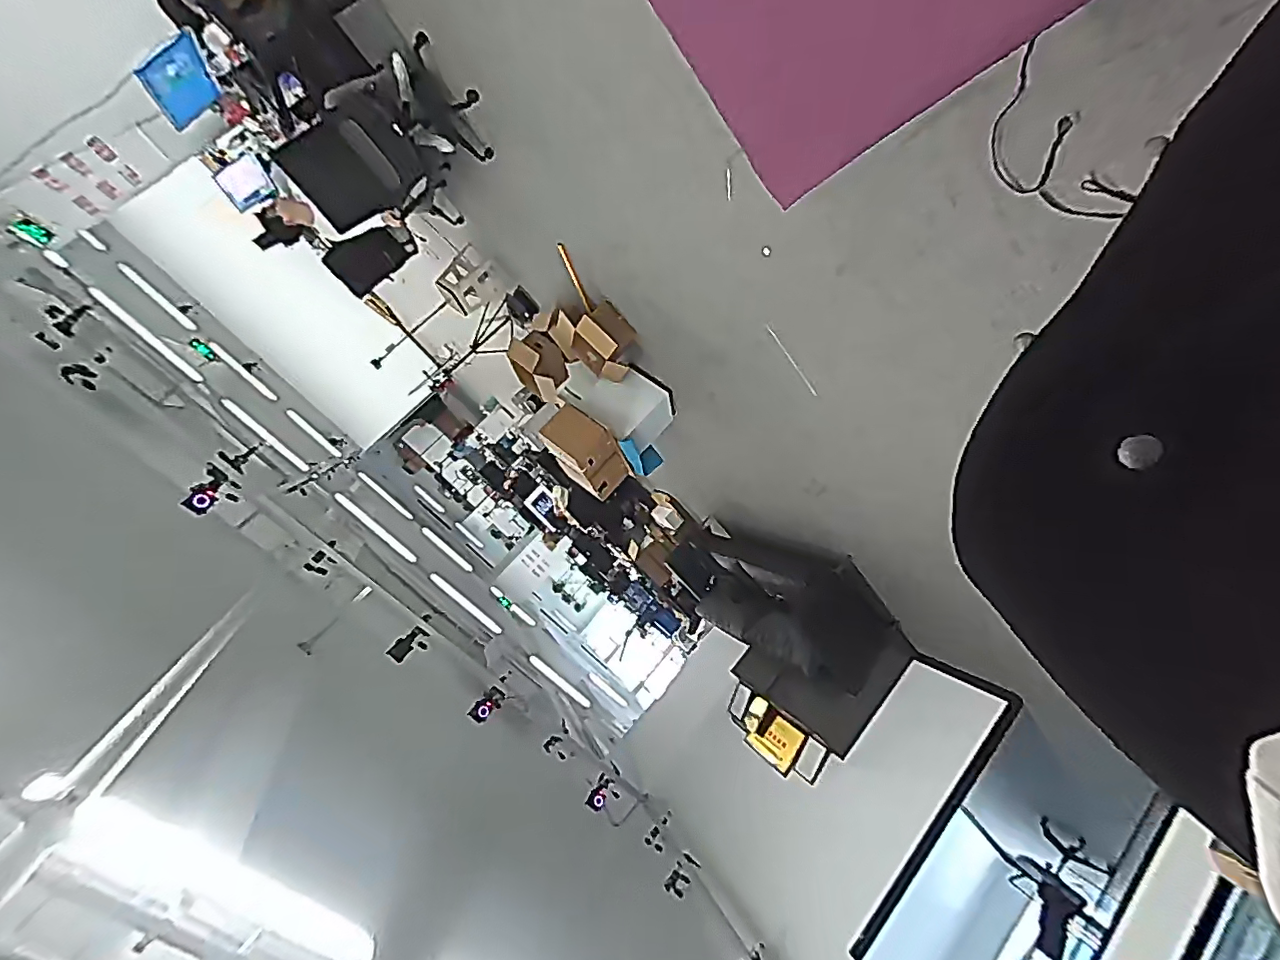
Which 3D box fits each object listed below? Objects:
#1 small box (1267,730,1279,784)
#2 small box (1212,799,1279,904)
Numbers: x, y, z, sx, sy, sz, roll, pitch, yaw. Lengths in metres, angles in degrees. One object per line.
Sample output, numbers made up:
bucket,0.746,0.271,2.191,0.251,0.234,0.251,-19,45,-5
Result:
small box,1.930,0.793,1.518,0.179,0.176,0.168,52,166,-21
small box,1.686,0.998,1.436,0.179,0.176,0.168,50,166,-20
